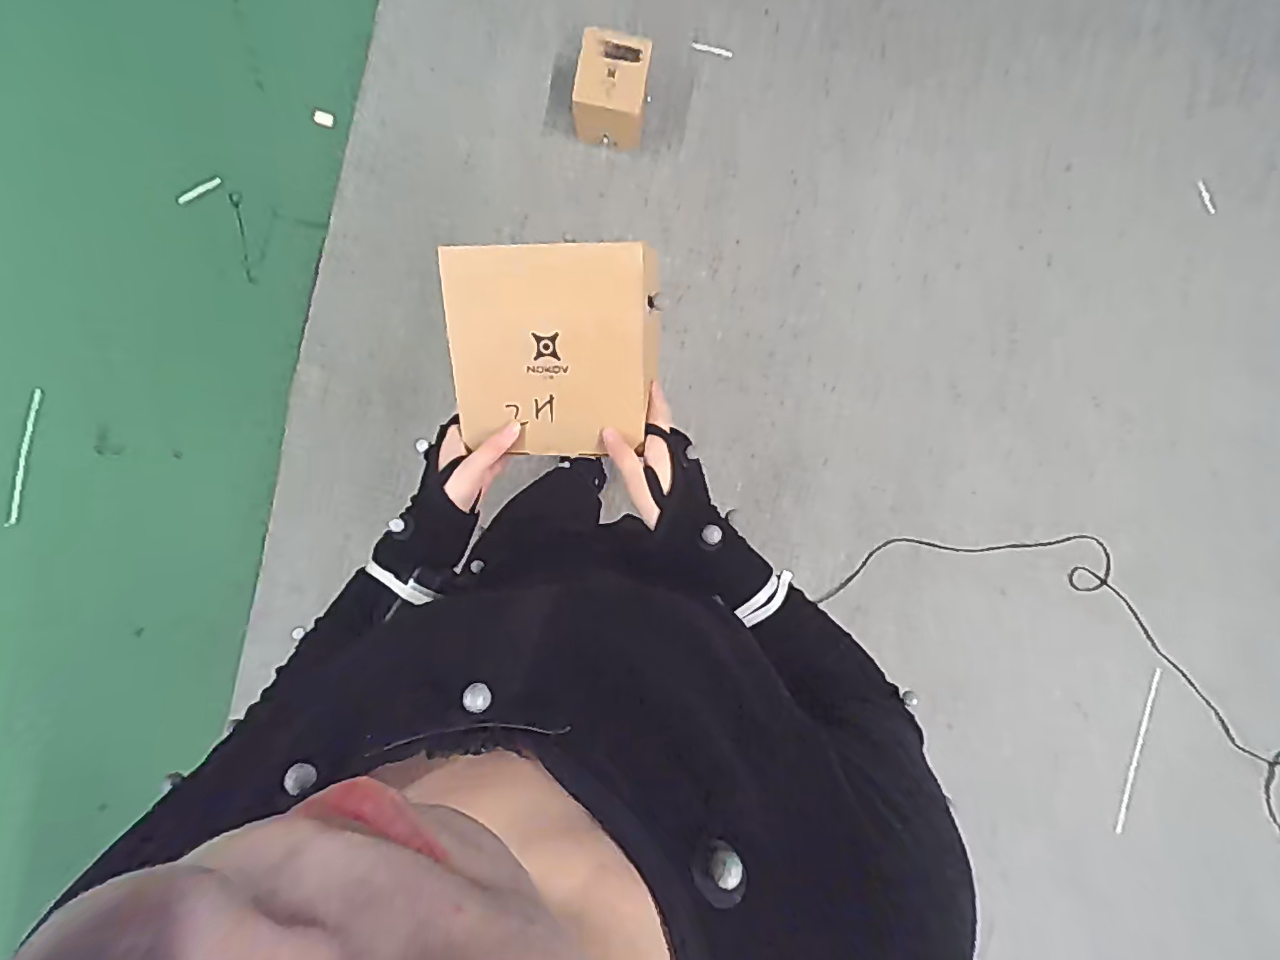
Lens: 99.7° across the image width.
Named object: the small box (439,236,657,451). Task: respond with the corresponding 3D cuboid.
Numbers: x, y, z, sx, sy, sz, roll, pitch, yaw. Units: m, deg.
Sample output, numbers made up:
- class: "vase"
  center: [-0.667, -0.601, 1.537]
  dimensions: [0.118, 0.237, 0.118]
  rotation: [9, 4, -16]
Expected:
- class: "small box"
  center: [-0.073, -0.137, 0.530]
  dimensions: [0.168, 0.176, 0.179]
  rotation: [2, 111, 7]
